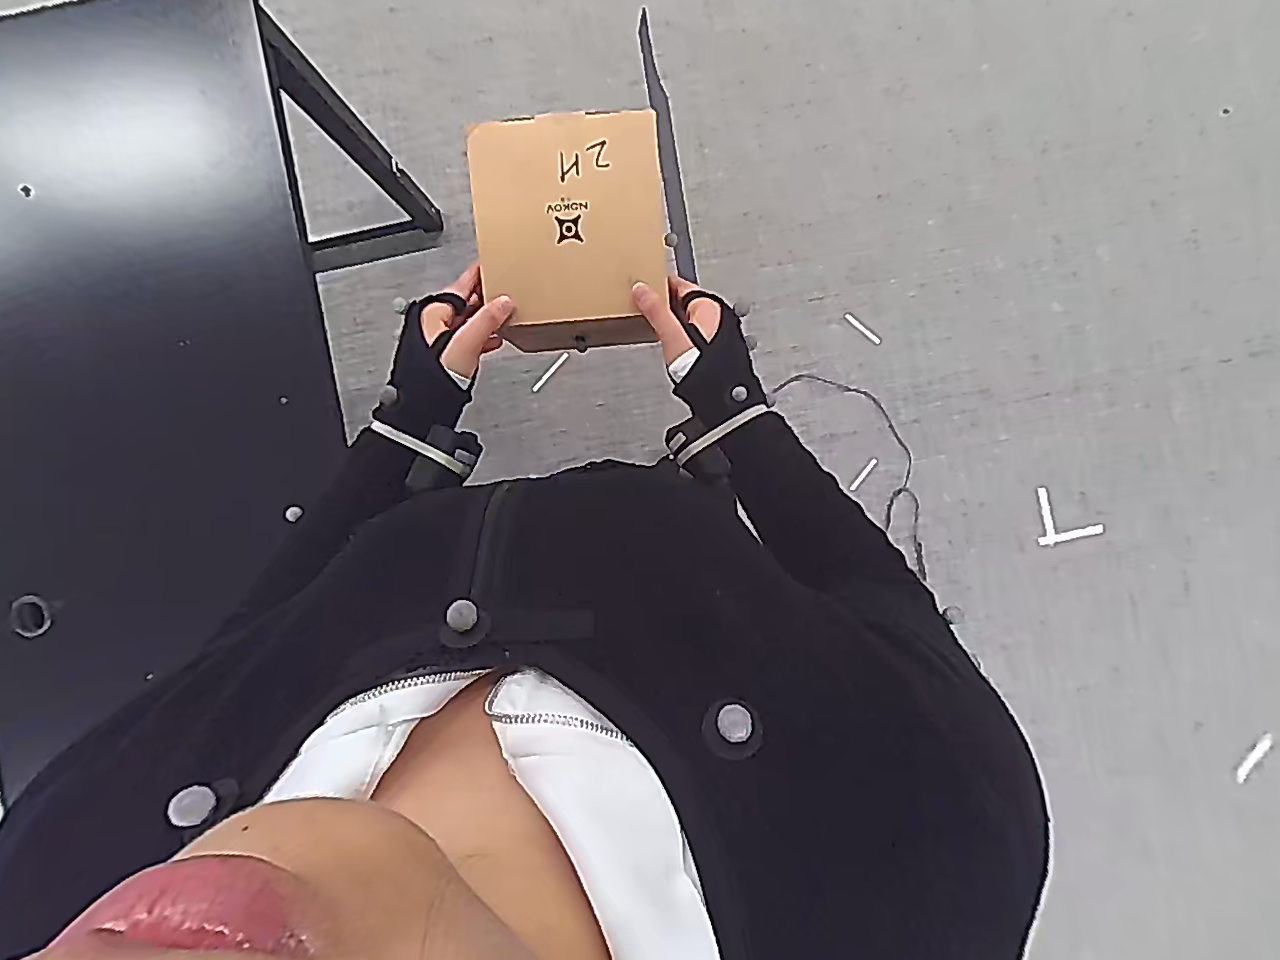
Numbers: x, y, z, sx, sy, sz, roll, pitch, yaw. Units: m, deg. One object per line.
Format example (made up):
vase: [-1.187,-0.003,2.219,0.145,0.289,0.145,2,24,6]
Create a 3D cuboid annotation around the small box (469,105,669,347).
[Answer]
small box: [-0.060,-0.236,0.551,0.168,0.176,0.179,-5,95,0]
